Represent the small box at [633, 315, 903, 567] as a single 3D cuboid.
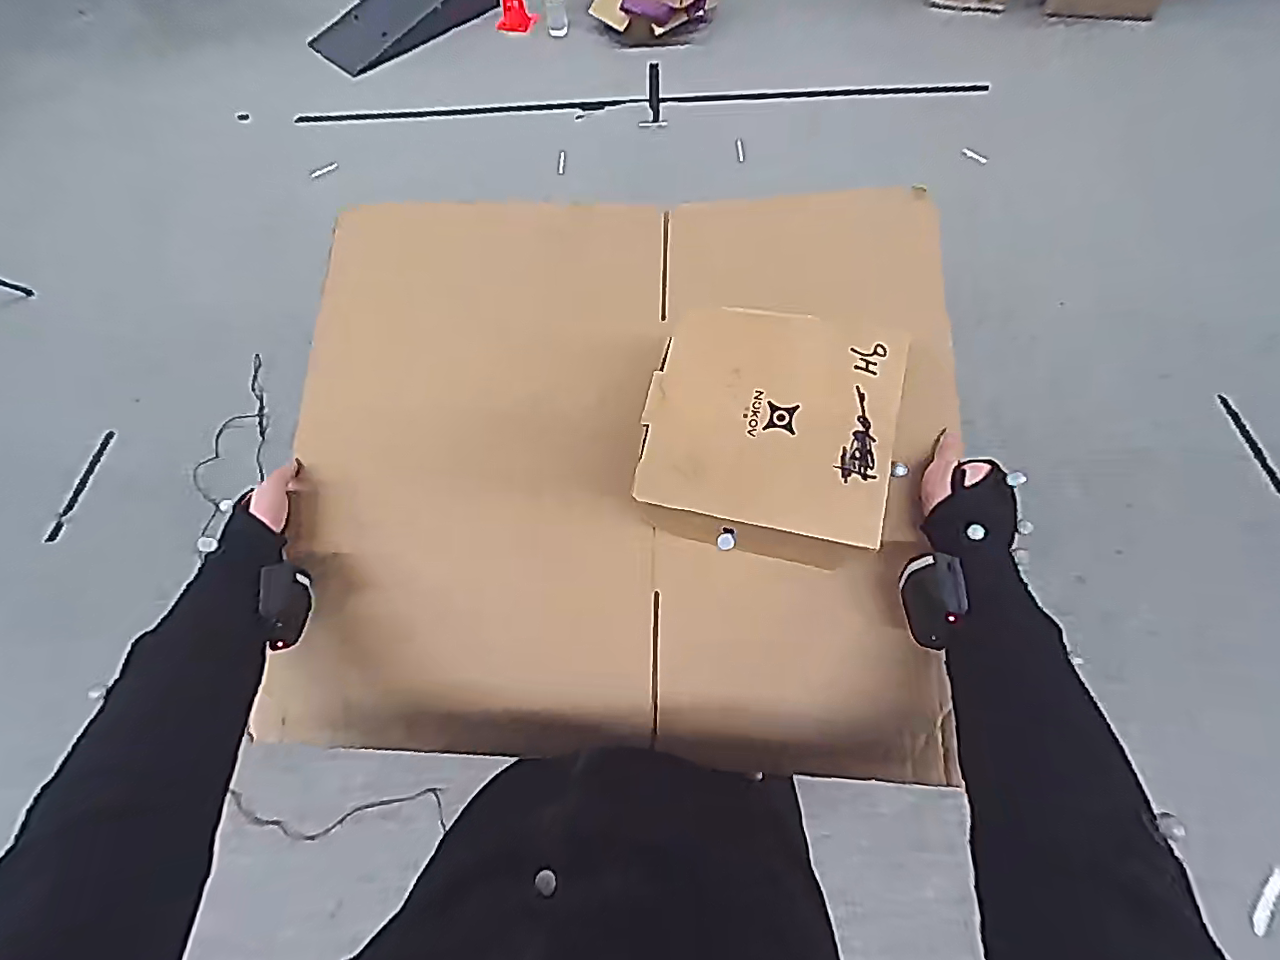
[{"bbox_3d":[0.111,-0.023,0.481,0.179,0.176,0.168,10,78,14],"label":"small box"}]
